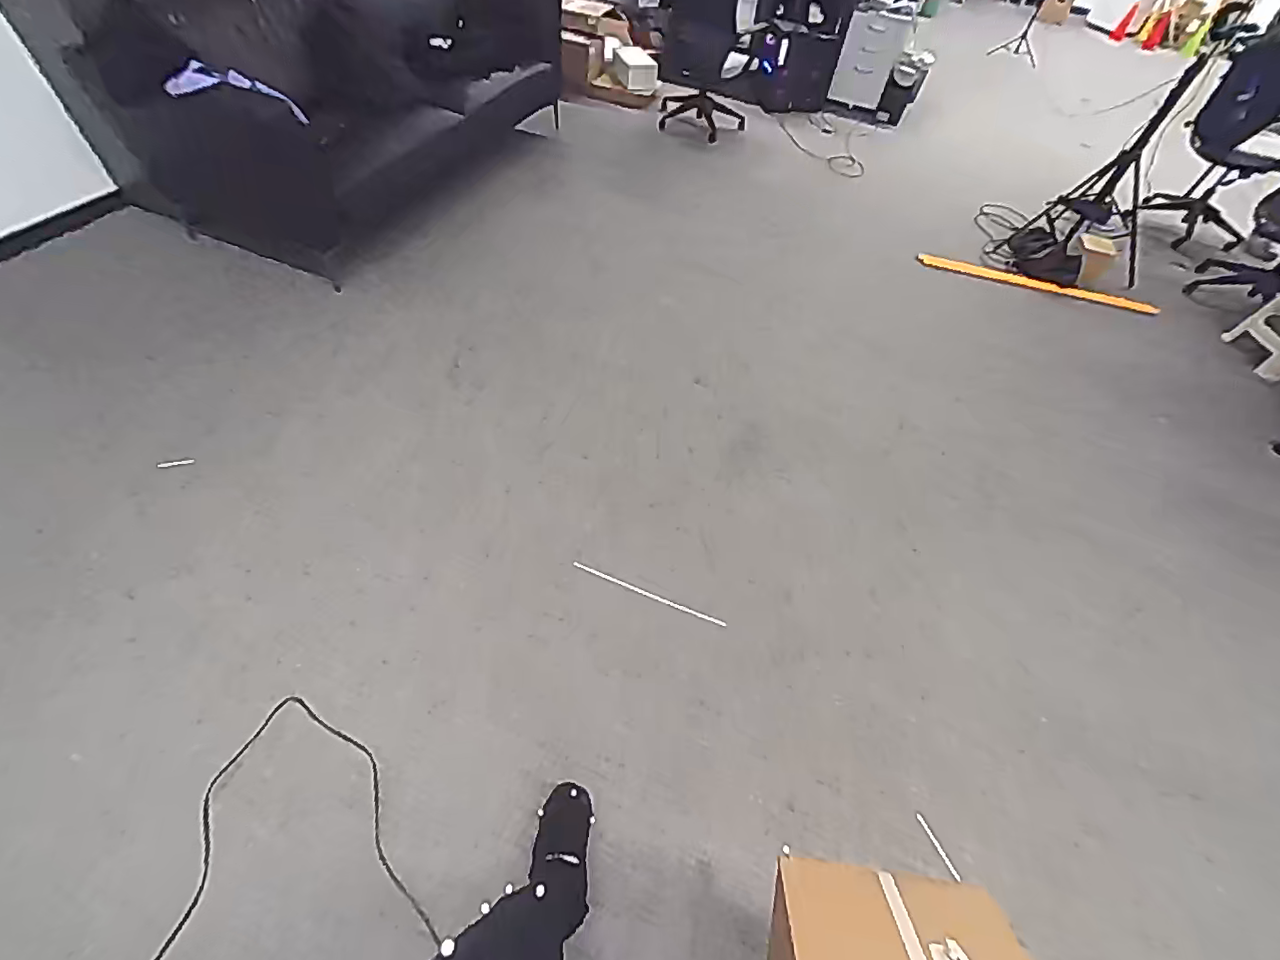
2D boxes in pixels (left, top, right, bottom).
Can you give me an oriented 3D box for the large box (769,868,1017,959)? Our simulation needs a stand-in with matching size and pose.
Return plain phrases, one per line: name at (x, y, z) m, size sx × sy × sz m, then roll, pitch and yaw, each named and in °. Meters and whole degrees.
large box at (0.334, 0.790, 0.656) m, size 0.320 × 0.408 × 0.320 m, roll 6°, pitch 95°, yaw 6°
